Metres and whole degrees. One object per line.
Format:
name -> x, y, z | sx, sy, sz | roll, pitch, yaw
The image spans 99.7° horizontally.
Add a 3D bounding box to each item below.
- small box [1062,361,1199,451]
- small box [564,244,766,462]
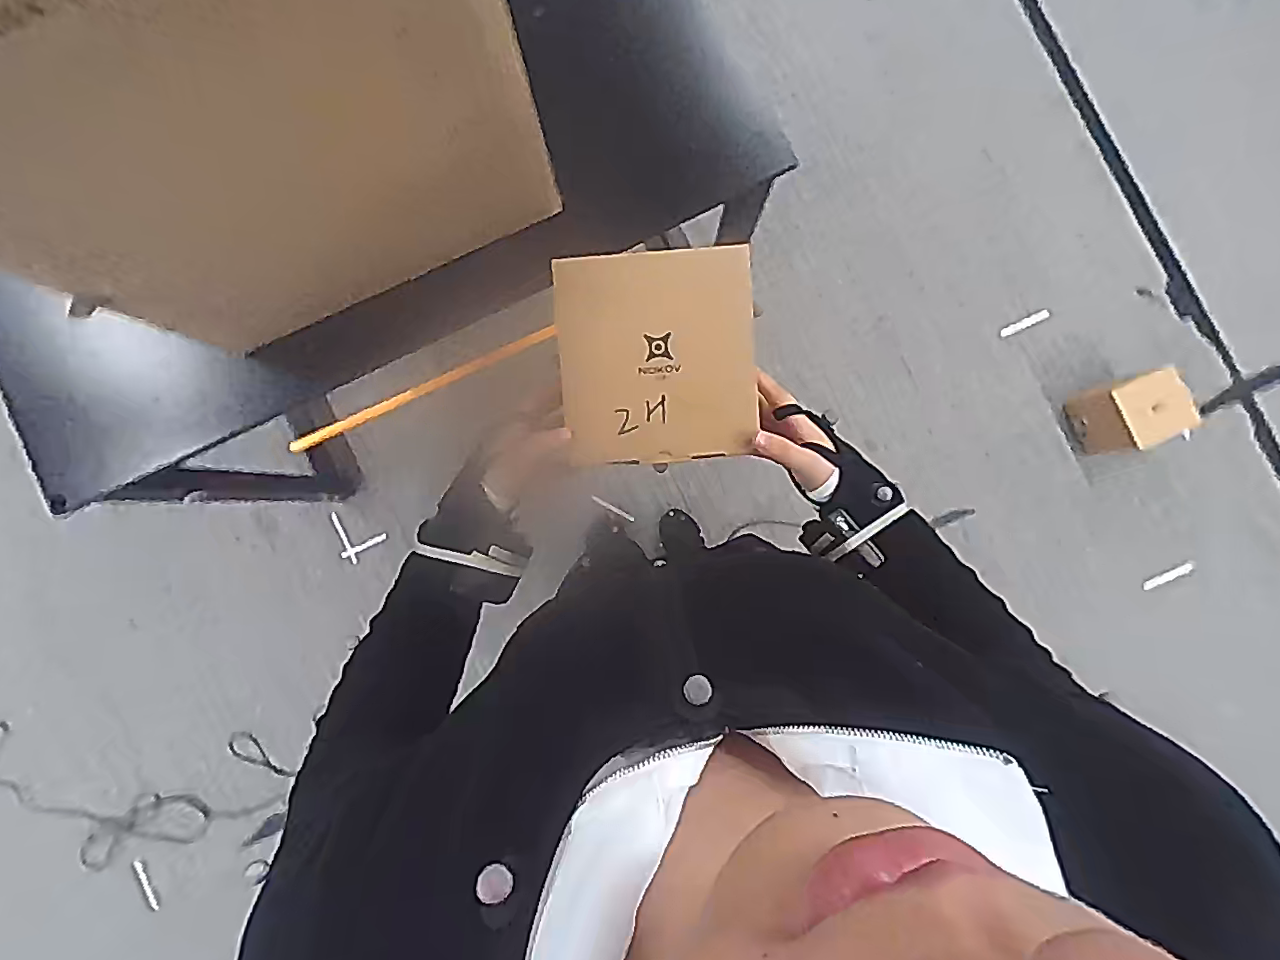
small box -> 1.284, -0.190, 1.427 | 0.179, 0.176, 0.168 | -26, 87, 1
small box -> 0.022, -0.109, 0.529 | 0.168, 0.176, 0.179 | -3, 94, 1
